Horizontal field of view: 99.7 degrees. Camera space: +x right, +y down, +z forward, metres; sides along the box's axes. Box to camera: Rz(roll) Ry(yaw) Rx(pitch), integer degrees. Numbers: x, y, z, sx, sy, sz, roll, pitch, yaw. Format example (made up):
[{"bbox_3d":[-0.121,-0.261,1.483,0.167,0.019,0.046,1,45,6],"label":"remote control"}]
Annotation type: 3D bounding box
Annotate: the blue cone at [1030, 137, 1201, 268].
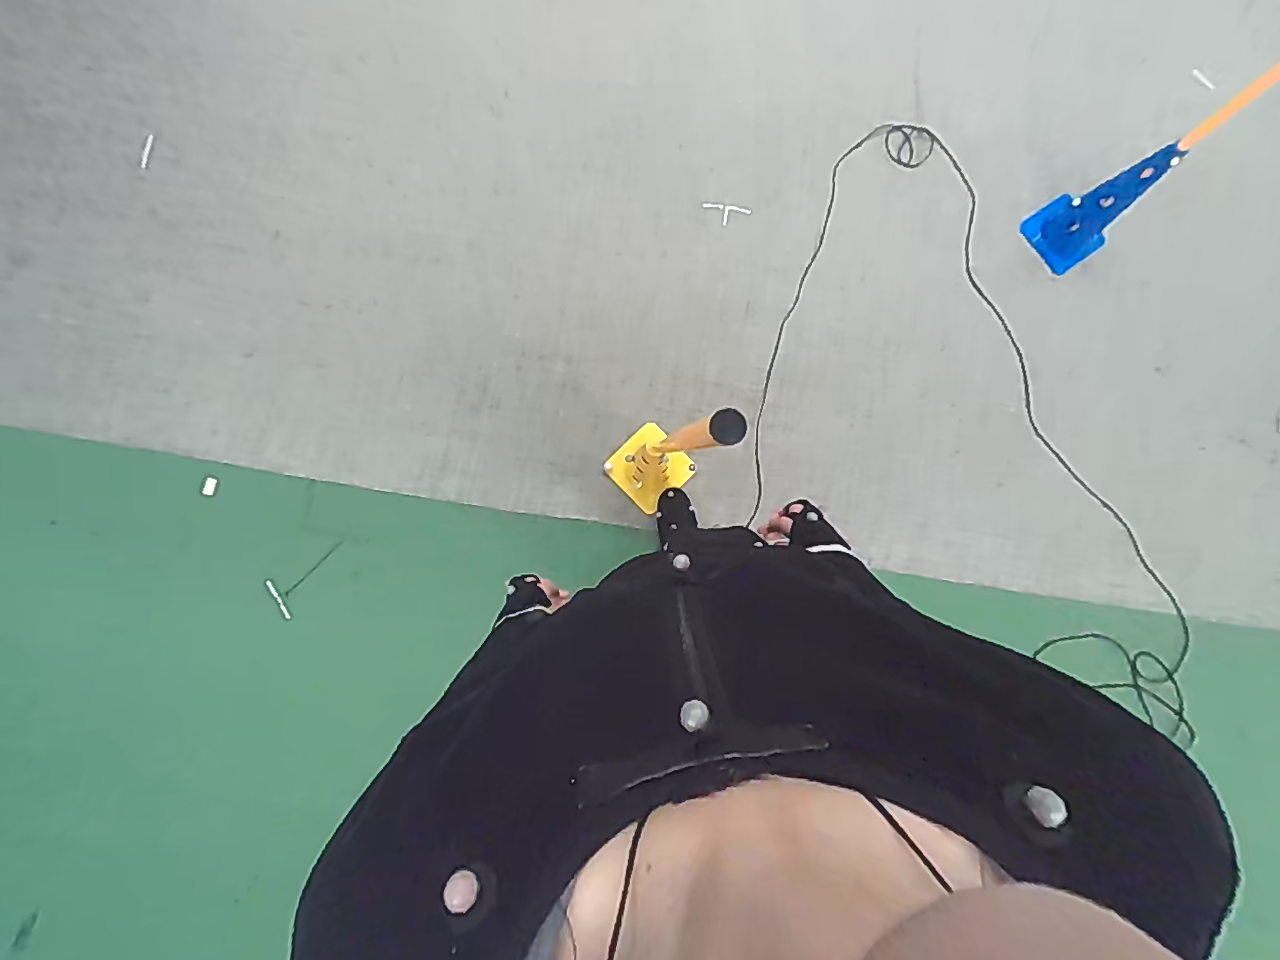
[{"bbox_3d":[1.280,-0.768,1.446,0.193,0.380,0.192,-36,85,-7],"label":"blue cone"}]
